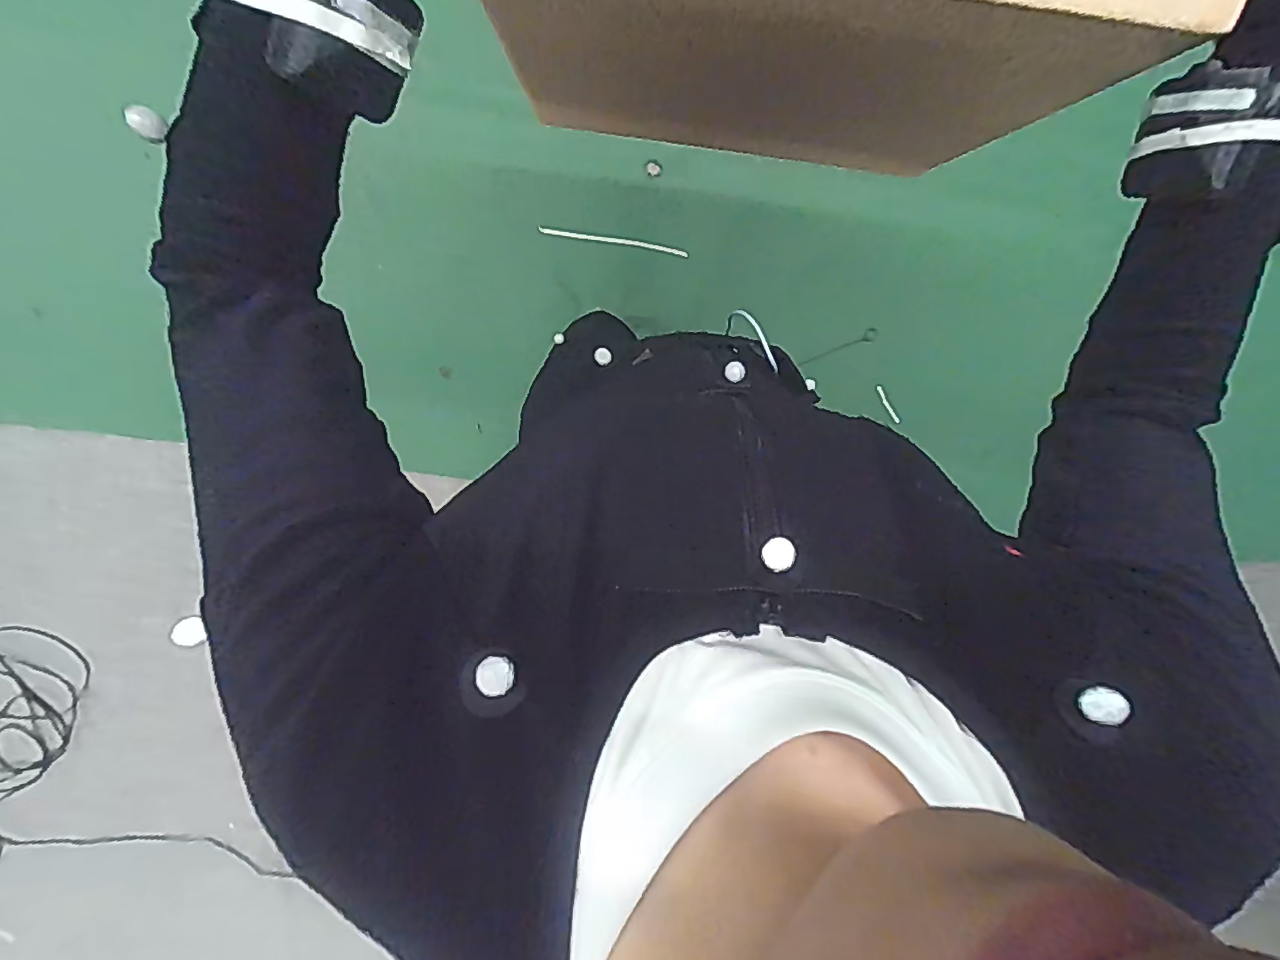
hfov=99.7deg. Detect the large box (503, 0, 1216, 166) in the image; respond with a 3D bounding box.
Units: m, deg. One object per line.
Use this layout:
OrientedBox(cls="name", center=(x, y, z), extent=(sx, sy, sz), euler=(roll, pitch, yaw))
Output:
OrientedBox(cls="large box", center=(0.117, -0.449, 0.378), extent=(0.408, 0.320, 0.320), euler=(5, 107, -4))
